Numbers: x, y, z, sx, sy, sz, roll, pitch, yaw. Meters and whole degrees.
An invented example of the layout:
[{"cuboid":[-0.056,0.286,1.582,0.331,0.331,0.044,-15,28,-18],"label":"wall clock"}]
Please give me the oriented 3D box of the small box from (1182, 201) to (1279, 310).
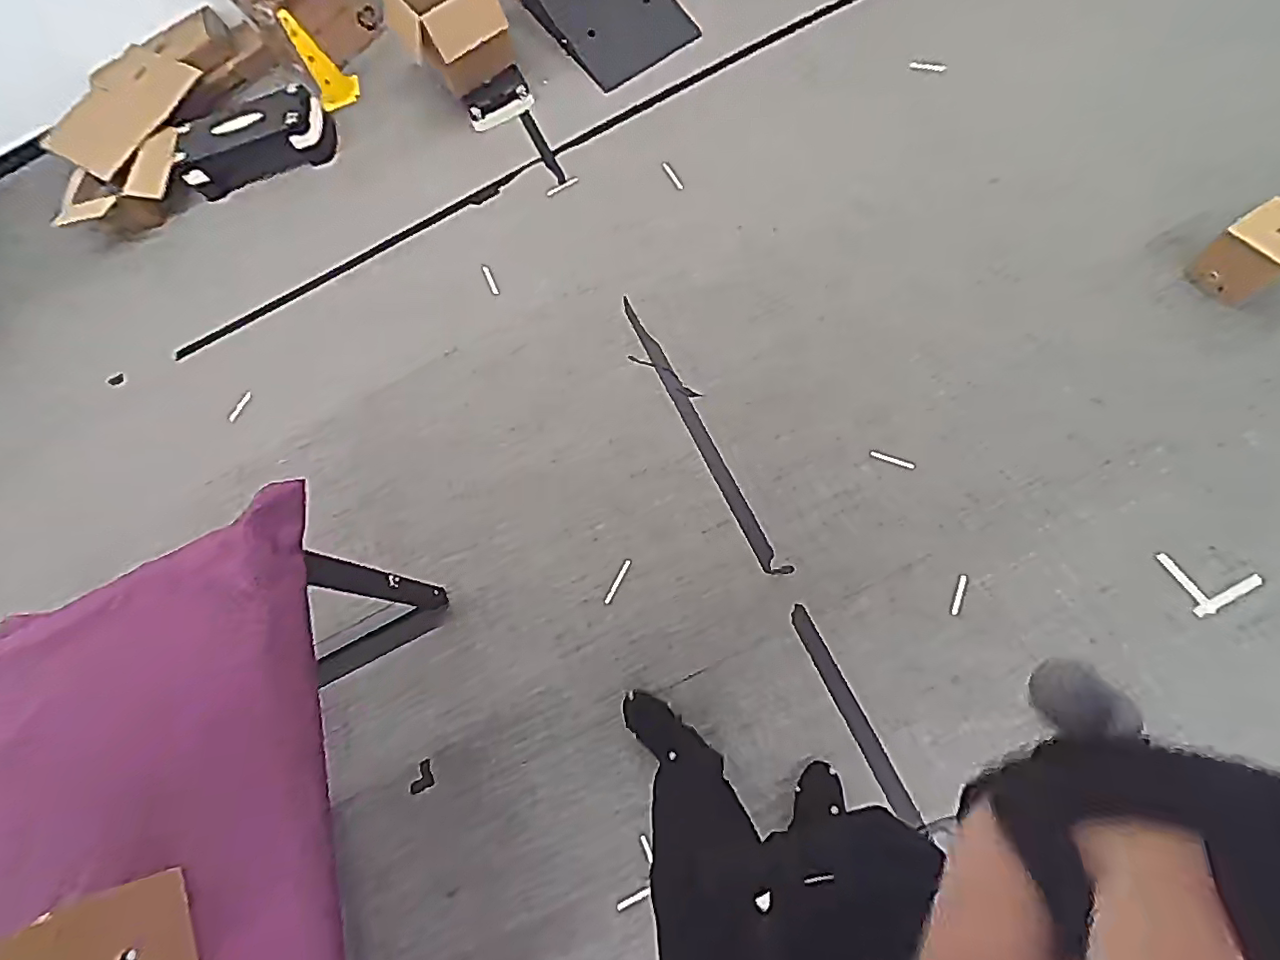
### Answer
[{"cuboid":[1.660,-0.603,1.468,0.179,0.176,0.168,-33,67,-1],"label":"small box"}]
